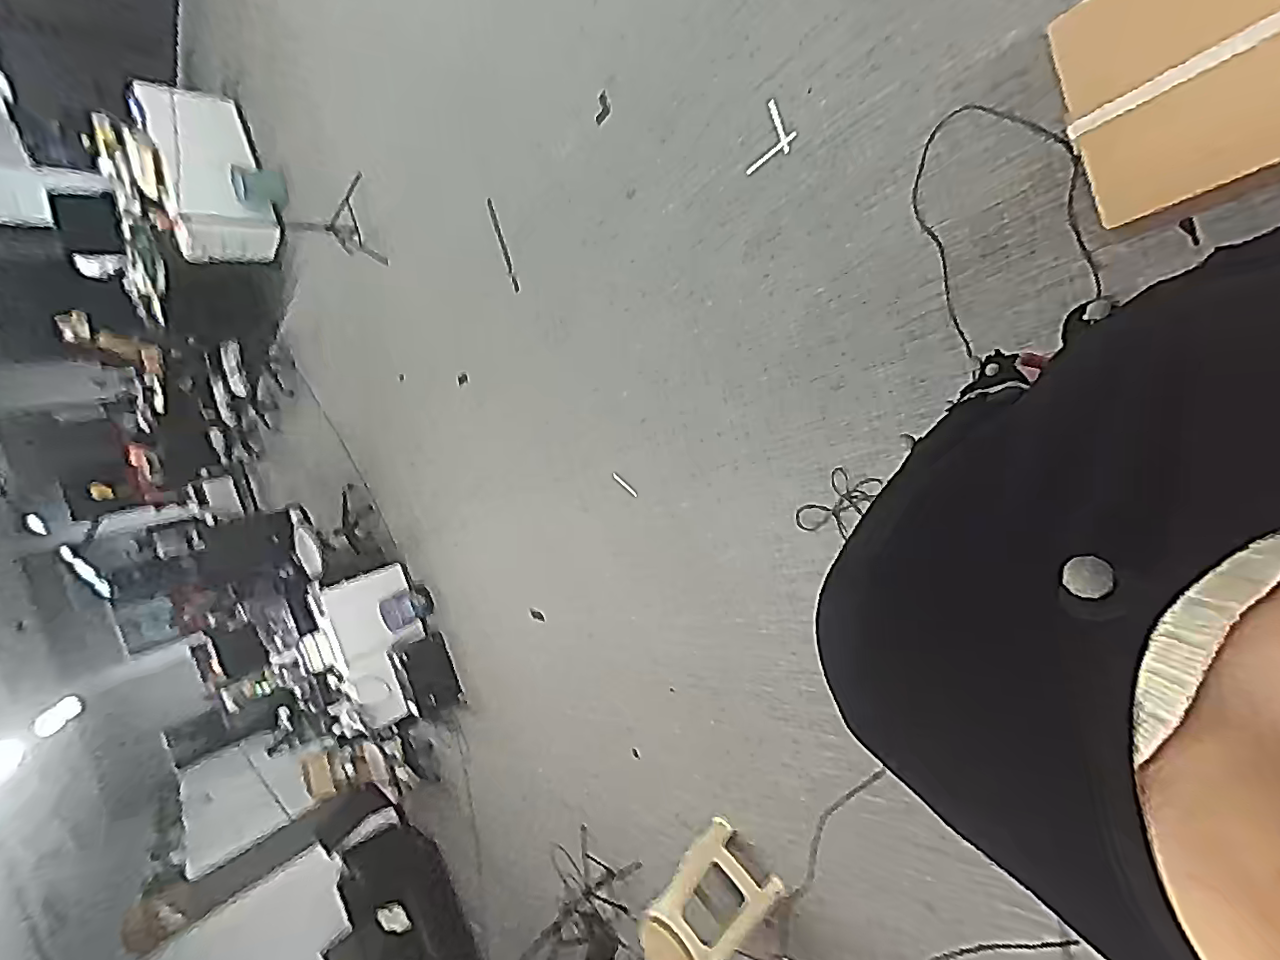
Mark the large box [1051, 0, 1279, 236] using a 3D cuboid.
[{"bbox_3d":[0.853,-0.583,0.722,0.408,0.320,0.320,-17,93,46],"label":"large box"}]
